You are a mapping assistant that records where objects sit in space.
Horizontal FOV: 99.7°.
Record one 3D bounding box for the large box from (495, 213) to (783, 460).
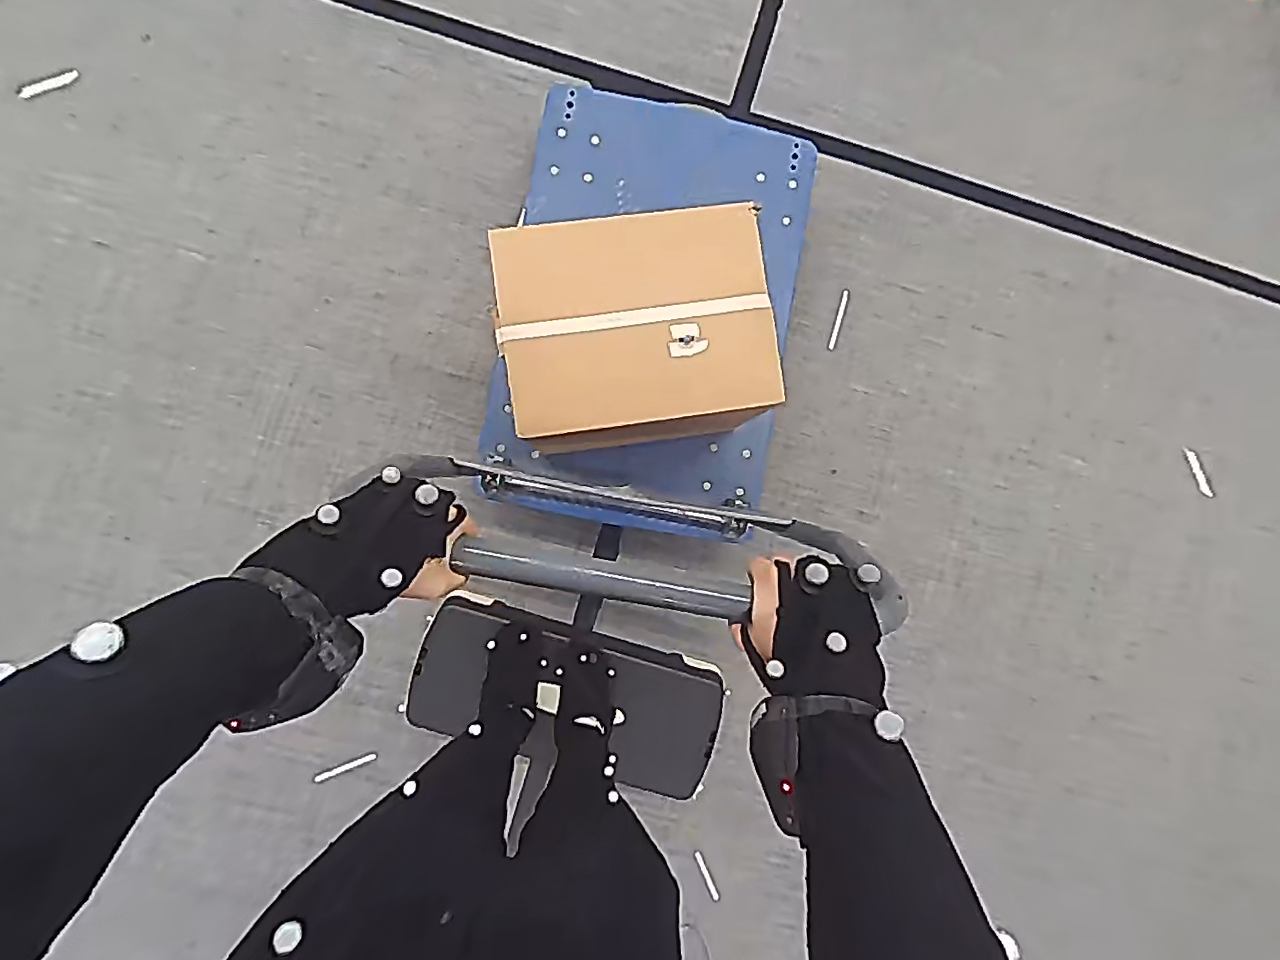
[{"bbox_3d":[-0.013,-0.226,0.959,0.408,0.320,0.320,-8,89,-5],"label":"large box"}]
